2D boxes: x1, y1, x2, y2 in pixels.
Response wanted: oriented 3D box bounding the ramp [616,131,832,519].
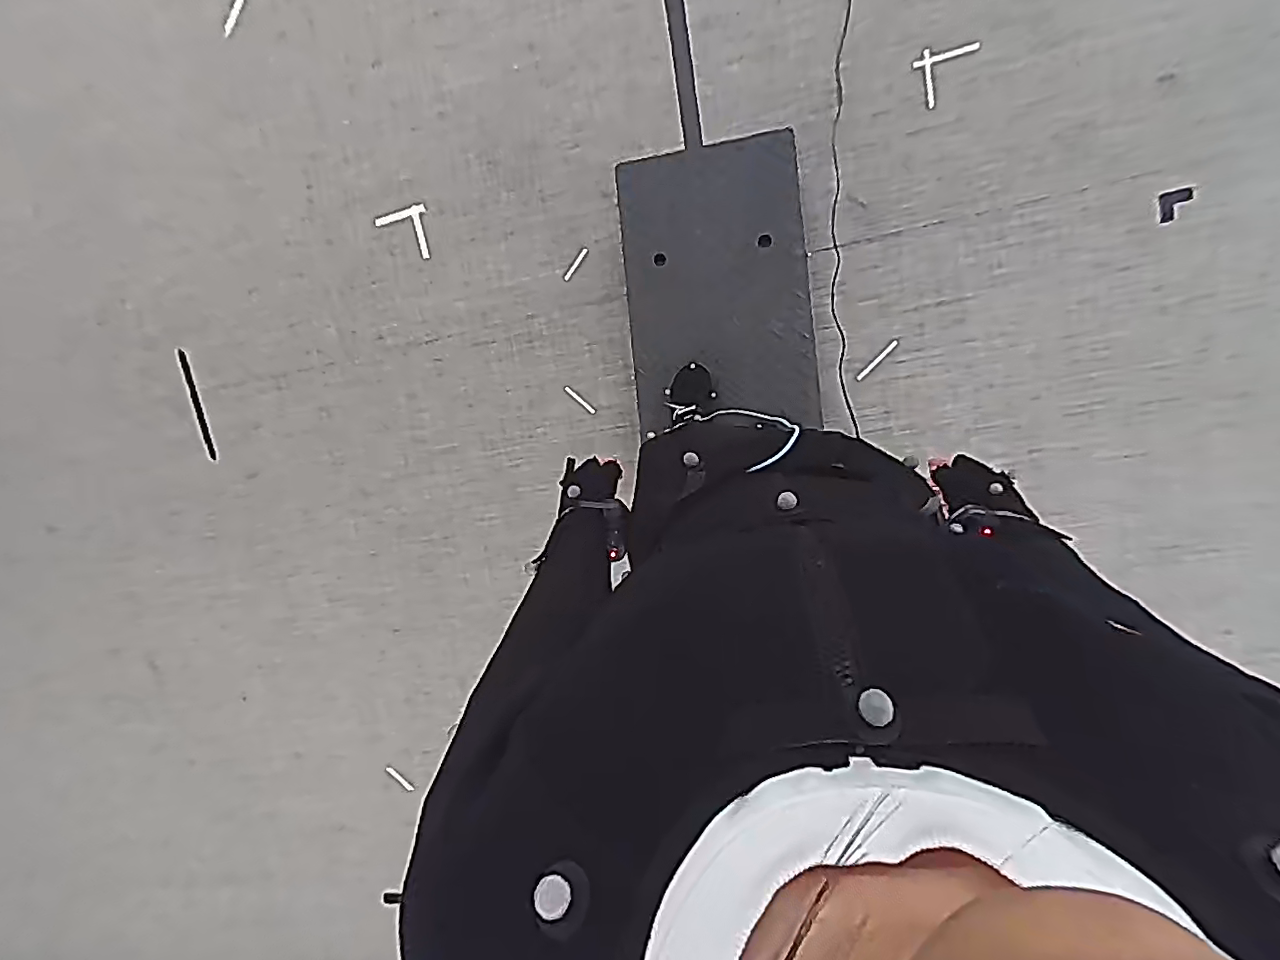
[{"bbox_3d":[0.213,-0.409,1.469,0.509,0.206,0.991,-7,98,12],"label":"ramp"}]
